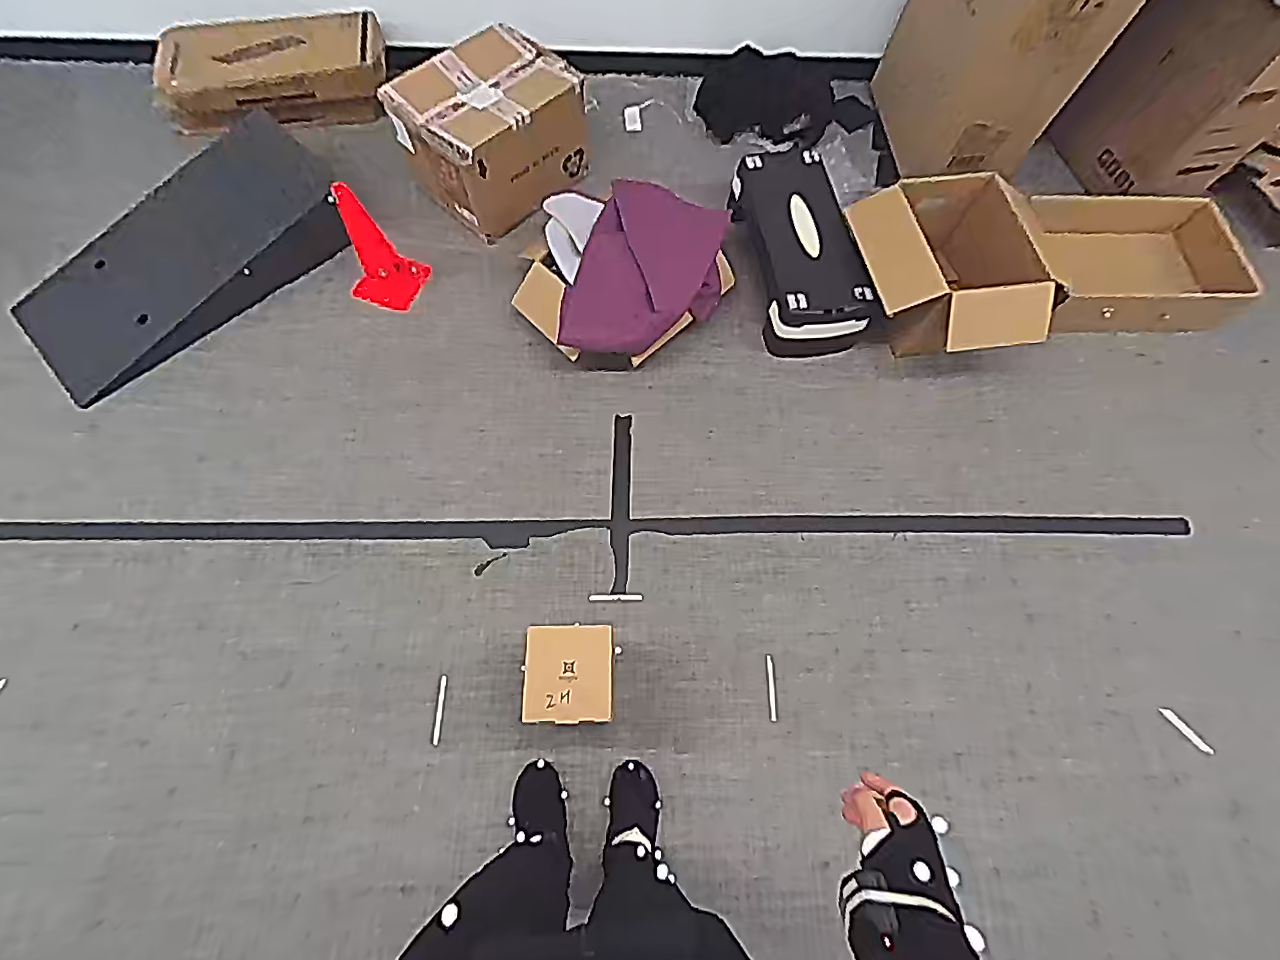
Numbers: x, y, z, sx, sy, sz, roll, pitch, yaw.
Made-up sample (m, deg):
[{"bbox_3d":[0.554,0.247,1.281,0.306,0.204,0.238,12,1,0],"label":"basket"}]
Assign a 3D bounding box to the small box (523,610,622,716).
[{"bbox_3d":[-0.118,0.347,1.017,0.168,0.176,0.179,-1,69,-1],"label":"small box"}]
